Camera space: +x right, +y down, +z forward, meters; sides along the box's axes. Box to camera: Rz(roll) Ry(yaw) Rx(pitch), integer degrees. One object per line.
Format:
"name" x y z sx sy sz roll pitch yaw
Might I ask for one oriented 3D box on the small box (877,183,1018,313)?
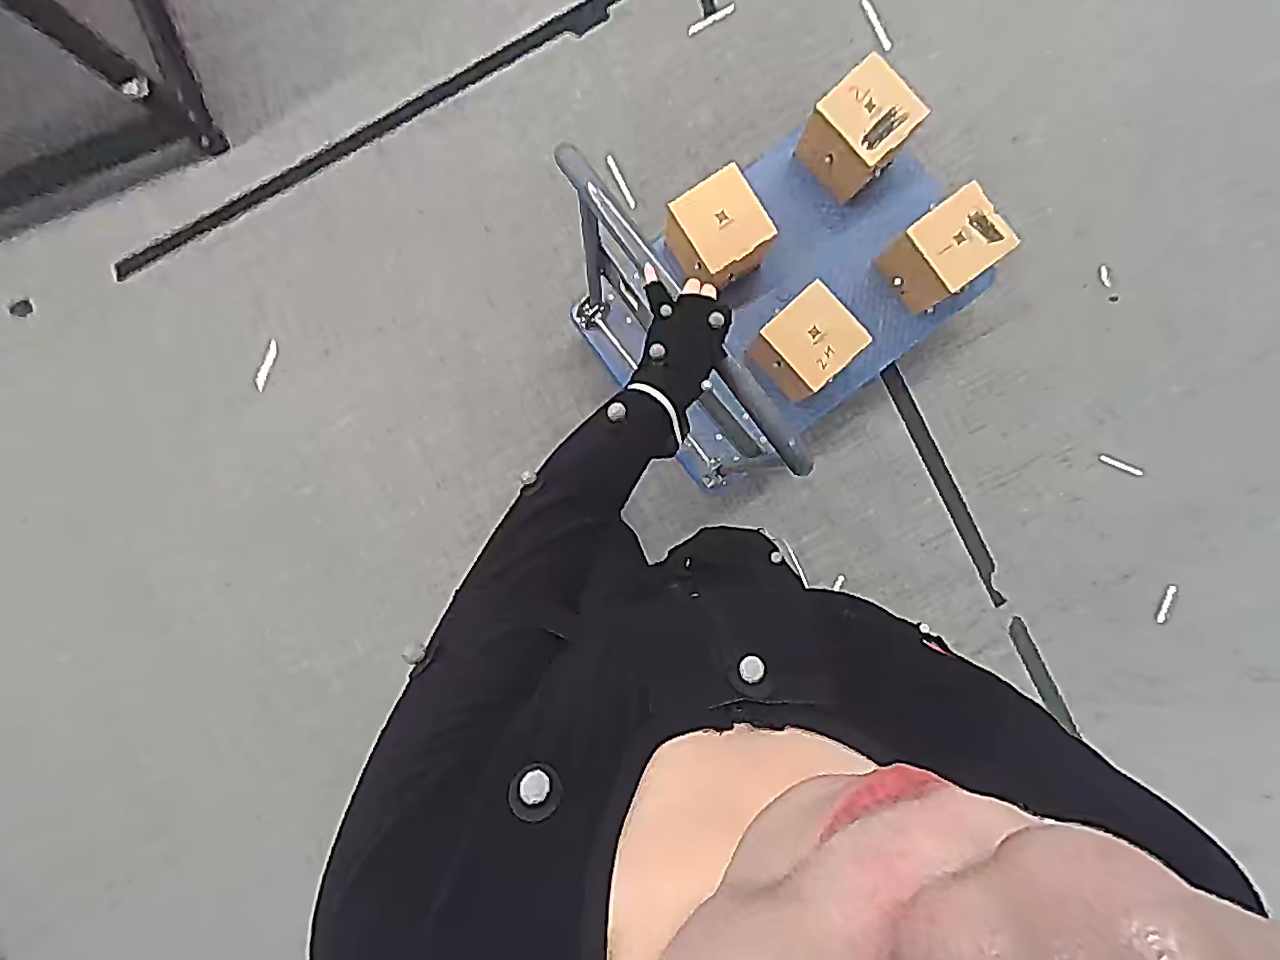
"small box" 0.665 -0.500 1.192 0.179 0.176 0.168 -36 91 2

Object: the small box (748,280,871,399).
"small box" 0.364 -0.300 1.198 0.168 0.176 0.179 -42 90 1

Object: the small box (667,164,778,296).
"small box" 0.173 -0.541 1.196 0.168 0.176 0.179 -33 92 1
